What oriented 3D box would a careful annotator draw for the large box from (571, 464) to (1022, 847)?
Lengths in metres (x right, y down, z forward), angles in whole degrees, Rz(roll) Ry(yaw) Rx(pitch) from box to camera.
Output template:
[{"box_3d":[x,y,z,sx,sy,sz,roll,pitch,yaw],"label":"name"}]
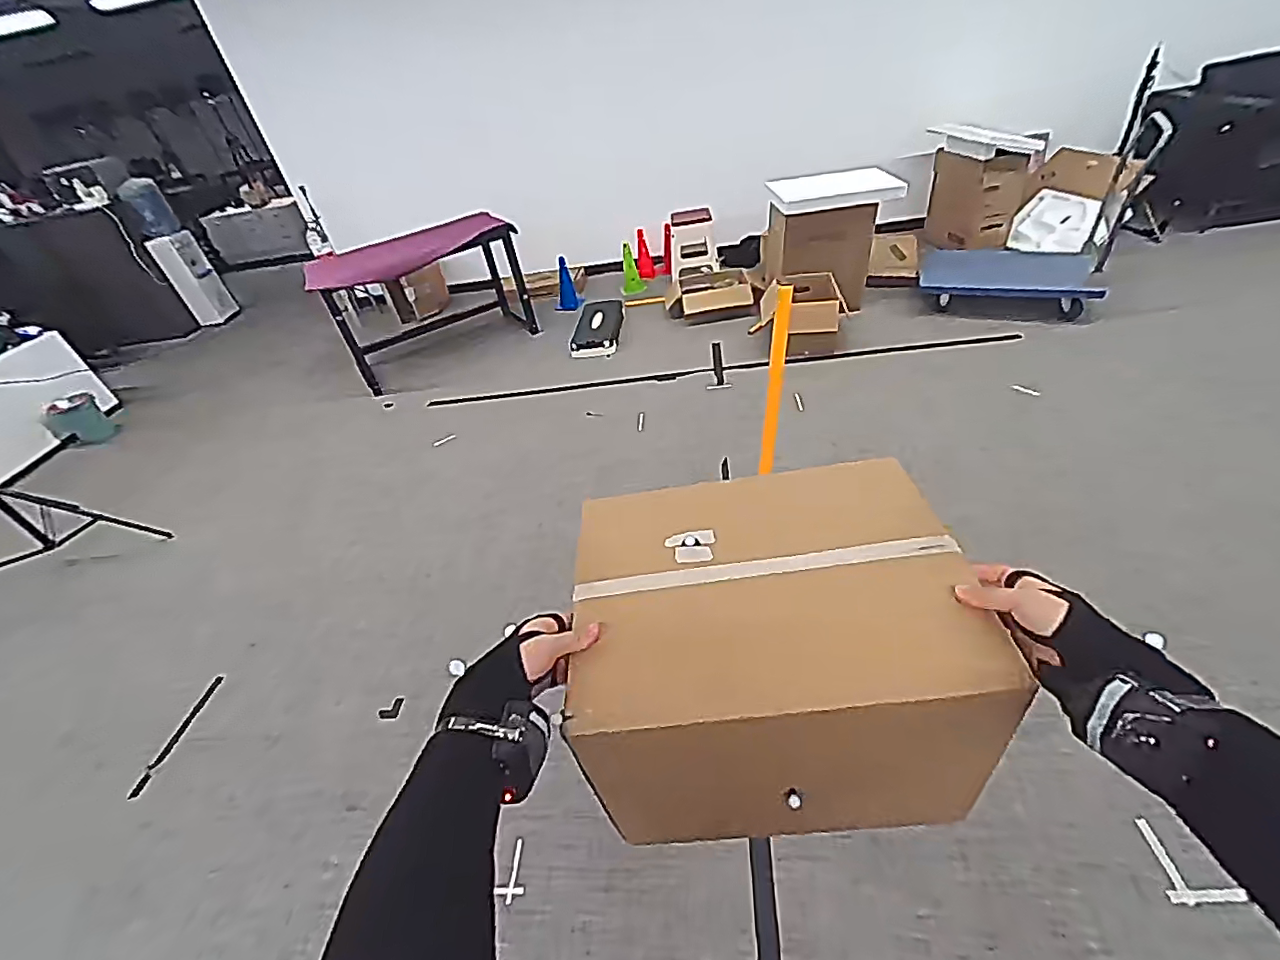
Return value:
[{"box_3d":[0.157,0.222,0.680,0.408,0.320,0.320,-10,38,6],"label":"large box"}]
